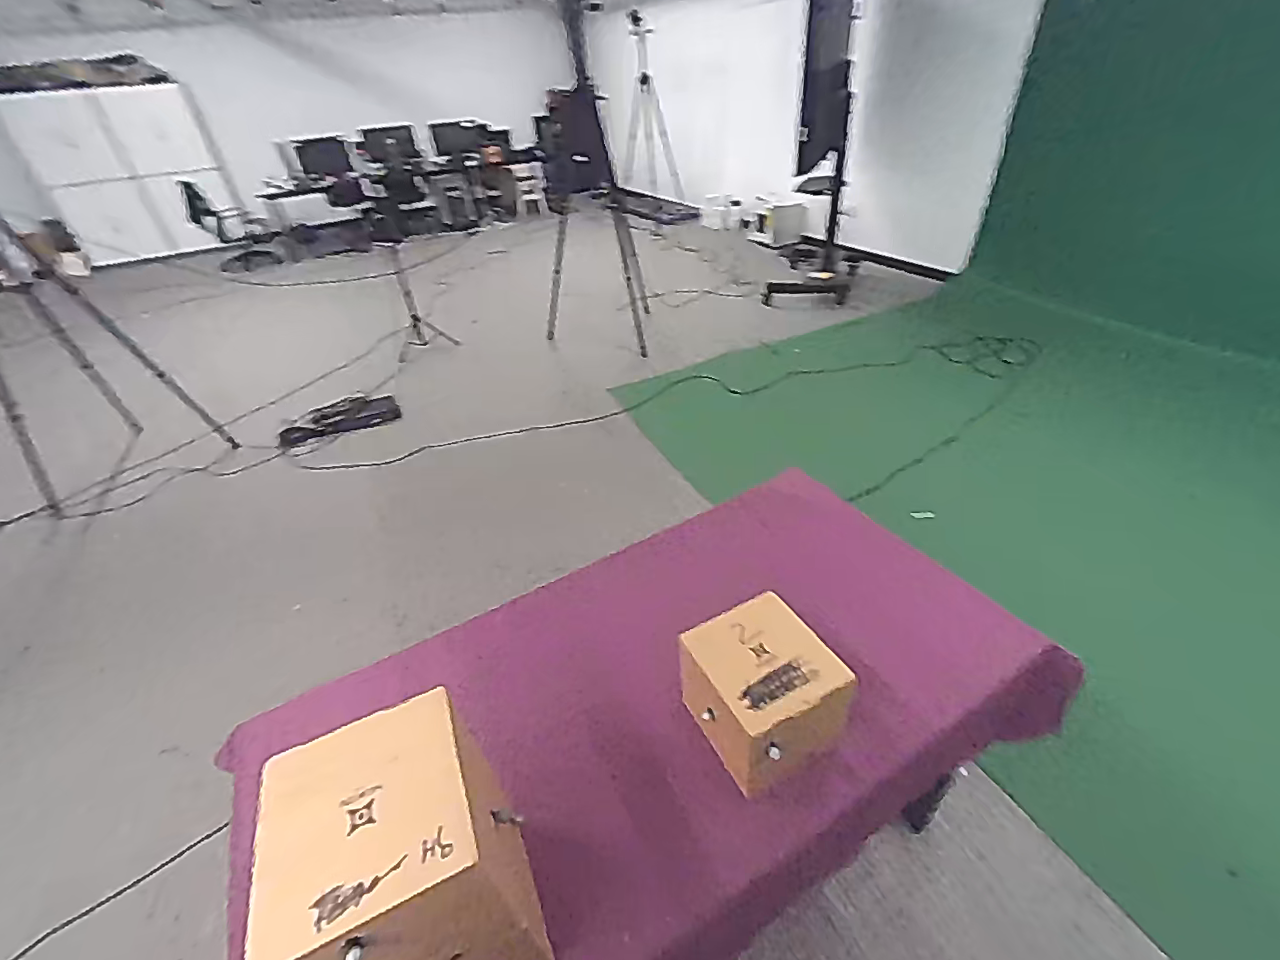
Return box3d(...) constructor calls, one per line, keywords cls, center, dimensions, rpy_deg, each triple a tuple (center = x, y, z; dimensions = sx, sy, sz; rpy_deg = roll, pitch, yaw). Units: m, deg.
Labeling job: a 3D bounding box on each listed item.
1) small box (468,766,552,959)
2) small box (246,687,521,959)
box3d(cls="small box", center=(-0.212, 0.474, 0.608), dimensions=(0.168, 0.176, 0.179), rpy_deg=(-20, 40, -17))
box3d(cls="small box", center=(-0.227, 0.342, 0.509), dimensions=(0.168, 0.176, 0.179), rpy_deg=(-21, 38, -16))
